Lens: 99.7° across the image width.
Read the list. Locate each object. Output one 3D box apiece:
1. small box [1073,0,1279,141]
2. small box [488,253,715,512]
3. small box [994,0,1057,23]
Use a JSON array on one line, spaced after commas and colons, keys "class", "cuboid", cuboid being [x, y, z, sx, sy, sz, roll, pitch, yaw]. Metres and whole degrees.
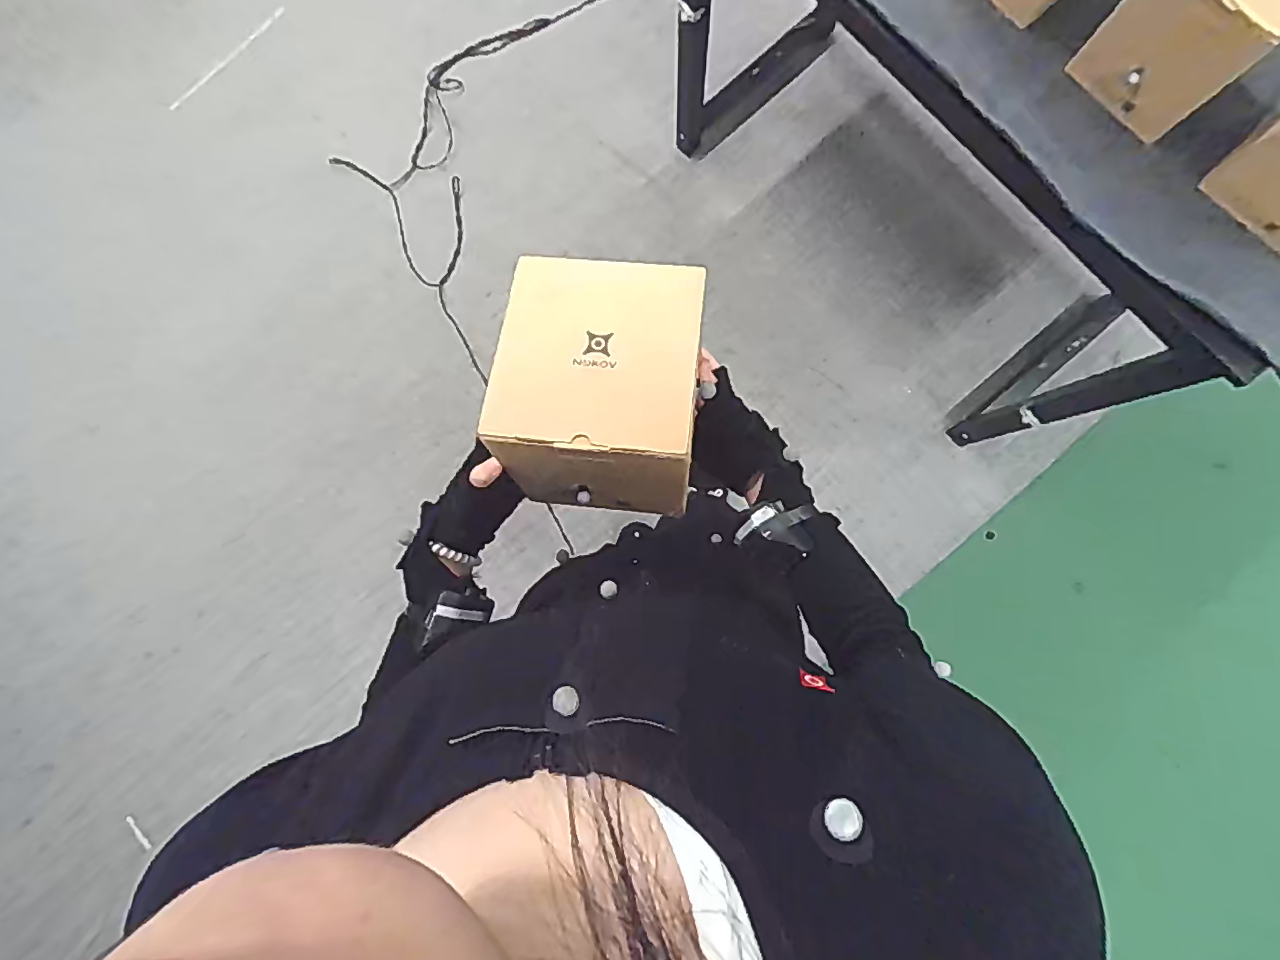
[{"class": "small box", "cuboid": [0.727, -0.597, 0.695, 0.179, 0.176, 0.168, -42, 84, -1]}, {"class": "small box", "cuboid": [-0.026, -0.082, 0.512, 0.168, 0.176, 0.179, 5, 72, 4]}, {"class": "small box", "cuboid": [0.566, -0.778, 0.719, 0.179, 0.176, 0.168, -40, 85, -2]}]
